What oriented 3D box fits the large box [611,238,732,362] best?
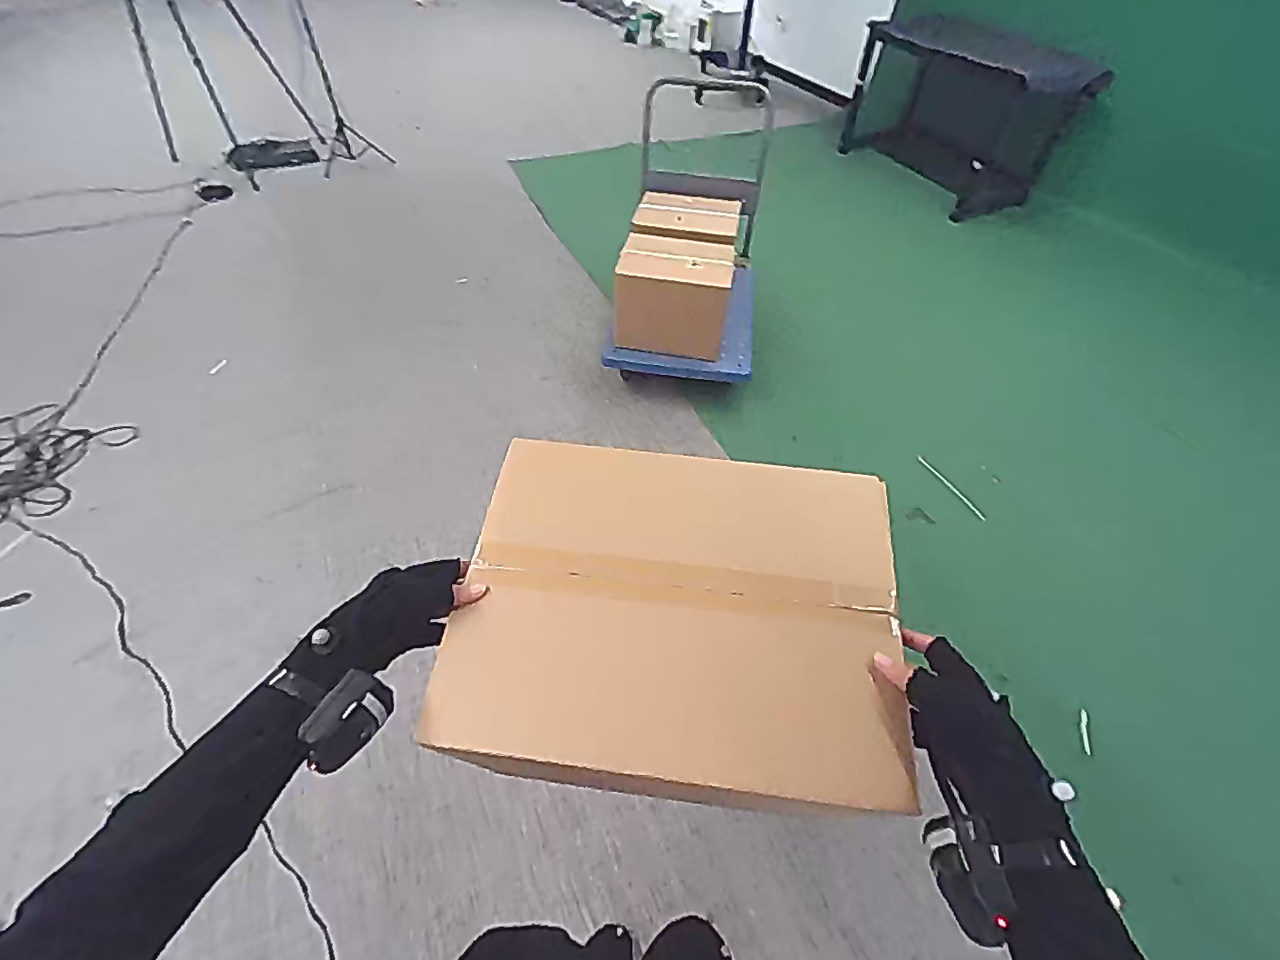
[{"bbox_3d":[0.115,-0.683,2.056,0.408,0.320,0.320,10,49,4],"label":"large box"}]
